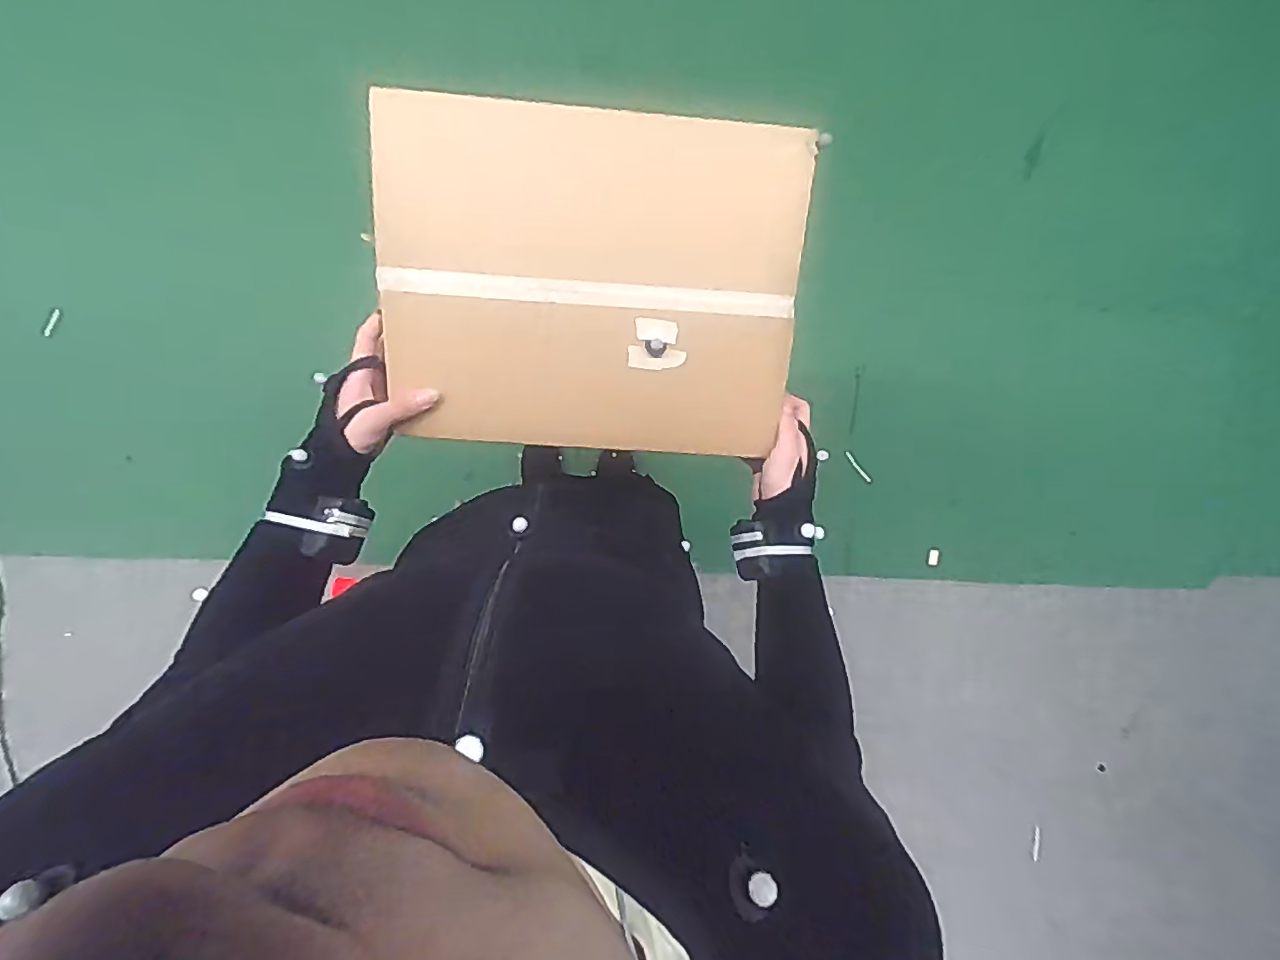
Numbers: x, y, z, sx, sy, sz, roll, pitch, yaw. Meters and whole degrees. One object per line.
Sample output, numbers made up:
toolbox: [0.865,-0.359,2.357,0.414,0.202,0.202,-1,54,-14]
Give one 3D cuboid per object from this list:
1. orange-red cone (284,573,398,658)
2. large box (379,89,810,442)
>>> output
orange-red cone: [-0.840,0.400,1.465,0.199,0.360,0.198,10,93,-1]
large box: [-0.054,-0.236,0.678,0.408,0.320,0.320,3,107,-4]
